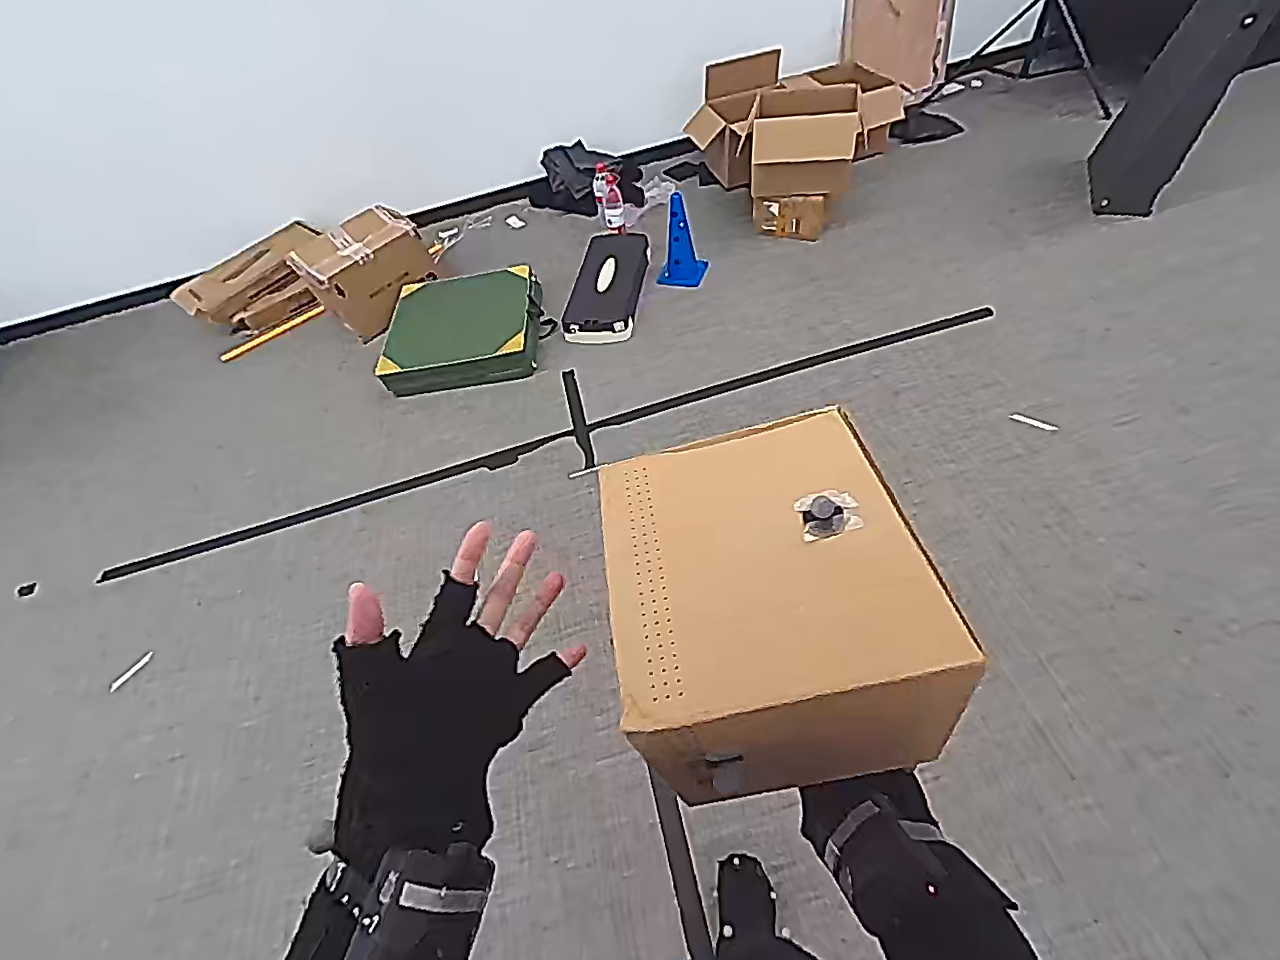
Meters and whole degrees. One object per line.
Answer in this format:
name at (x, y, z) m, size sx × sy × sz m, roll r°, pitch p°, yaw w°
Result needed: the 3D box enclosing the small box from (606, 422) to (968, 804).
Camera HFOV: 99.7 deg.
small box at (0.079, 0.092, 0.367) m, size 0.176 × 0.168 × 0.179 m, roll -15°, pitch 46°, yaw 7°
